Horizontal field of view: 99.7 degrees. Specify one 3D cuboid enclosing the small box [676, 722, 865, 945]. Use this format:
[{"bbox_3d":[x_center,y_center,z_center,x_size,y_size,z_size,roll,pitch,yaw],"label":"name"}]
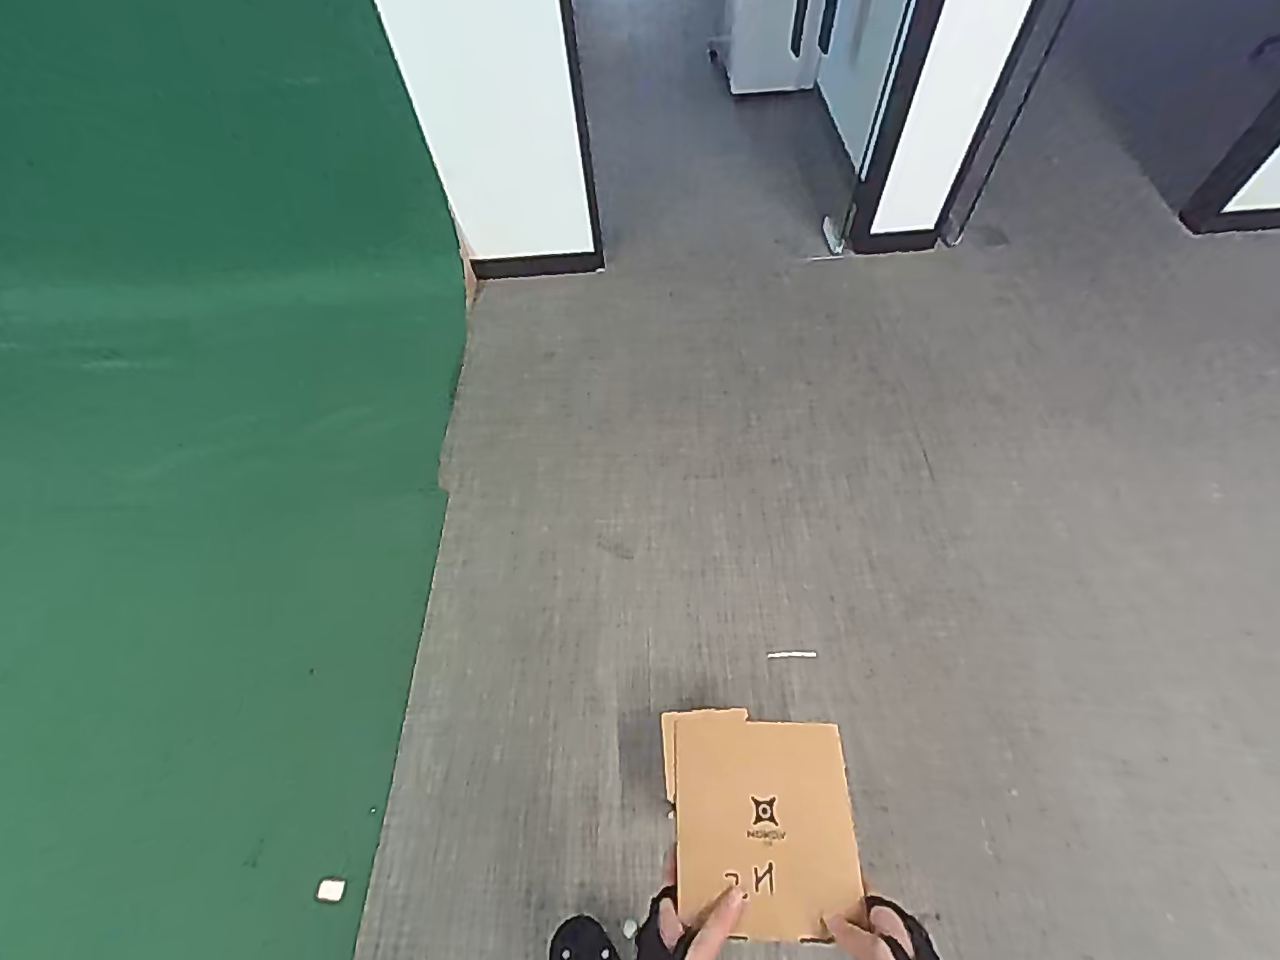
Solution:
[{"bbox_3d":[0.122,0.371,0.584,0.168,0.176,0.179,-1,58,5],"label":"small box"}]
